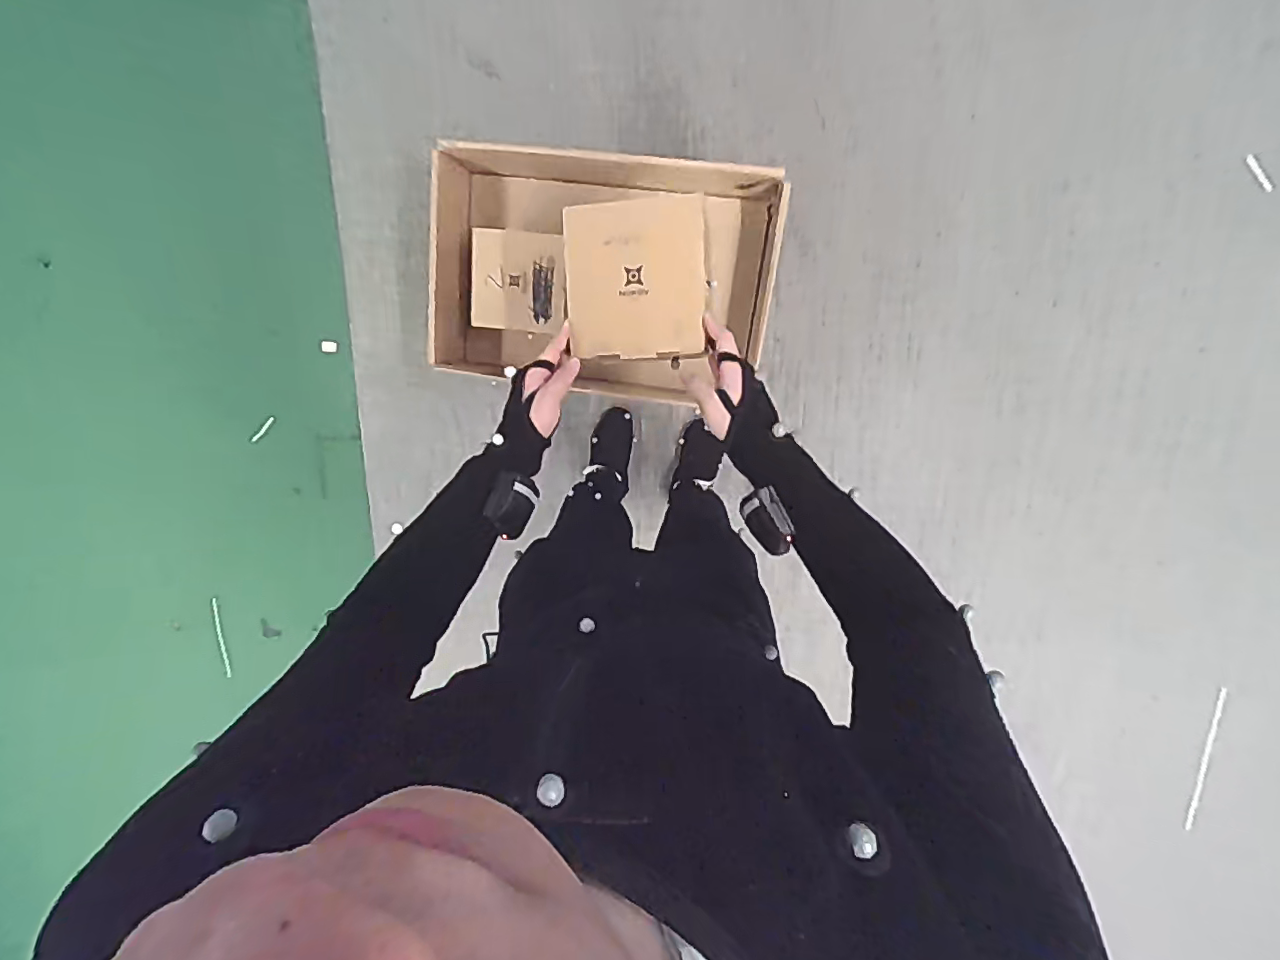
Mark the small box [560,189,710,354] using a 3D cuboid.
[{"bbox_3d":[0.004,-0.257,0.709,0.168,0.176,0.179,1,102,11],"label":"small box"}]
